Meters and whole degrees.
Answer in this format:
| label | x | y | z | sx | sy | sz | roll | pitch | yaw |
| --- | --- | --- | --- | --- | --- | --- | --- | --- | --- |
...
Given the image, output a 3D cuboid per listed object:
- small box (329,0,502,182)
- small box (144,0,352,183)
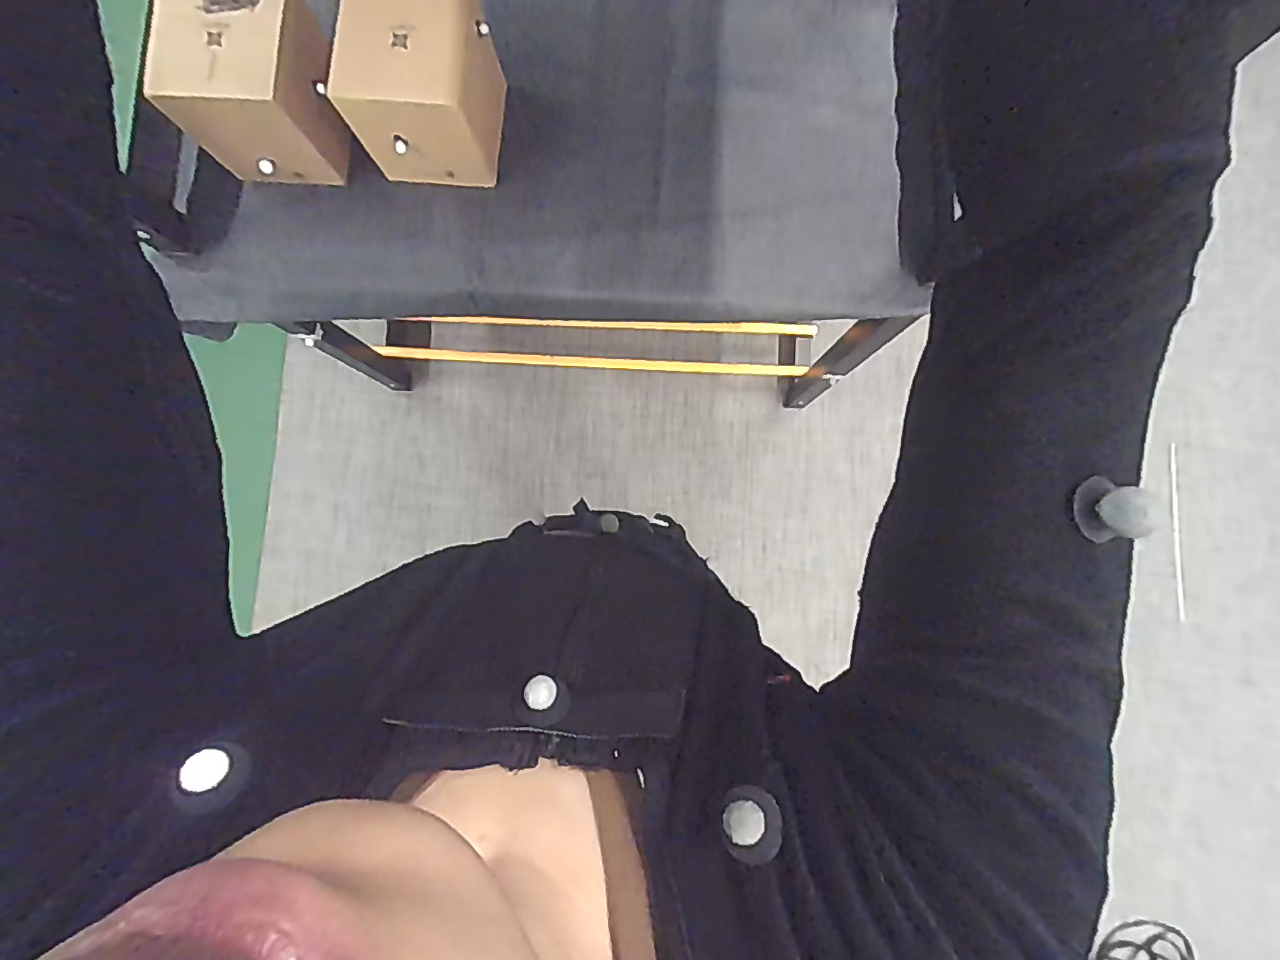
| label | x | y | z | sx | sy | sz | roll | pitch | yaw |
| --- | --- | --- | --- | --- | --- | --- | --- | --- | --- |
| small box | -0.299 | -0.549 | 0.756 | 0.168 | 0.176 | 0.179 | 4 | 84 | 0 |
| small box | -0.526 | -0.553 | 0.755 | 0.168 | 0.176 | 0.179 | 3 | 85 | 0 |
